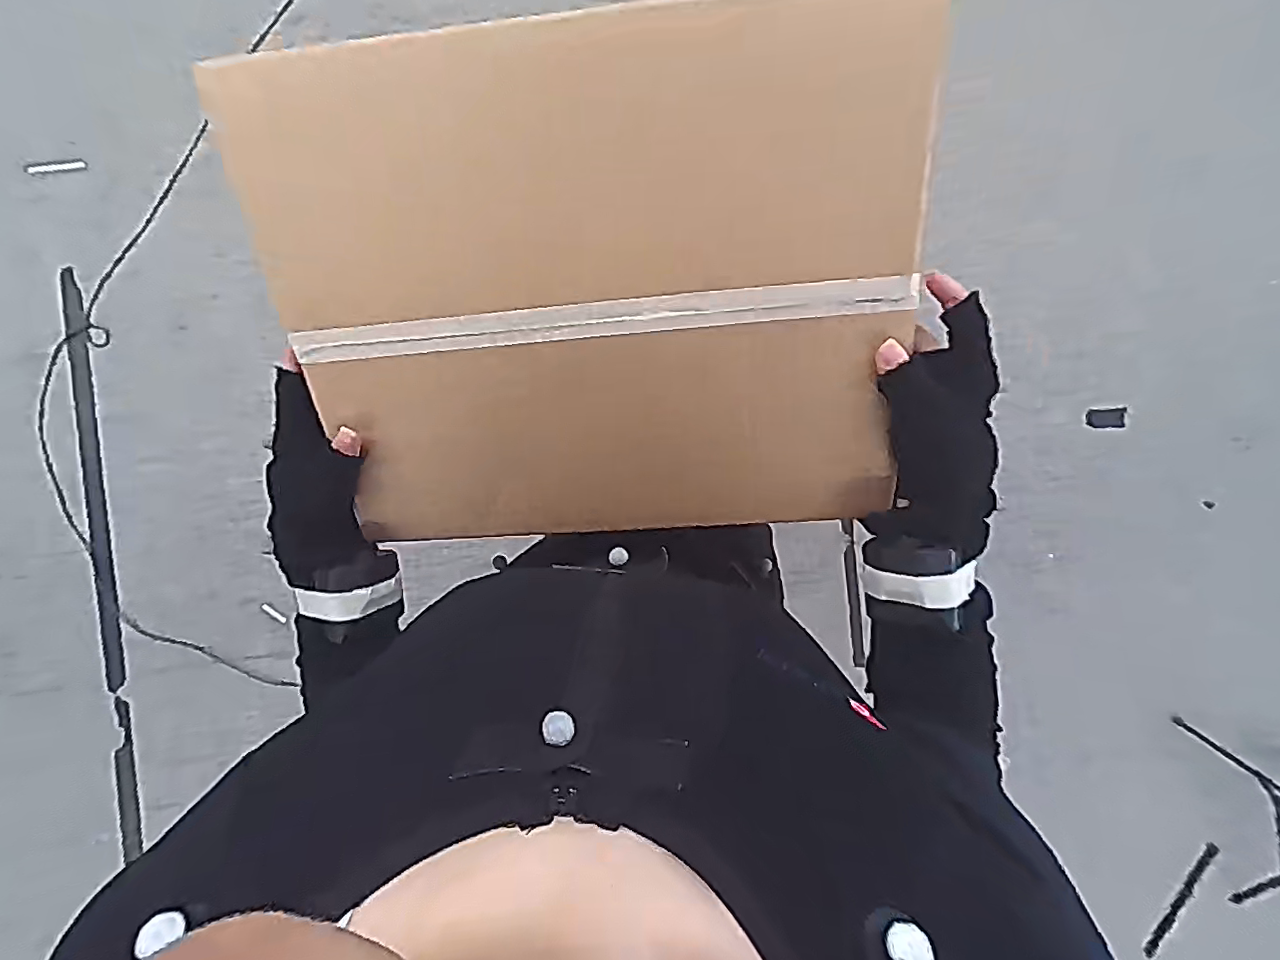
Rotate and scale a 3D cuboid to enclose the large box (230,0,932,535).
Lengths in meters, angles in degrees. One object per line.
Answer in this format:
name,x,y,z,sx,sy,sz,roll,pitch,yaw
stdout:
large box,-0.023,-0.170,0.492,0.408,0.320,0.320,-4,116,5
